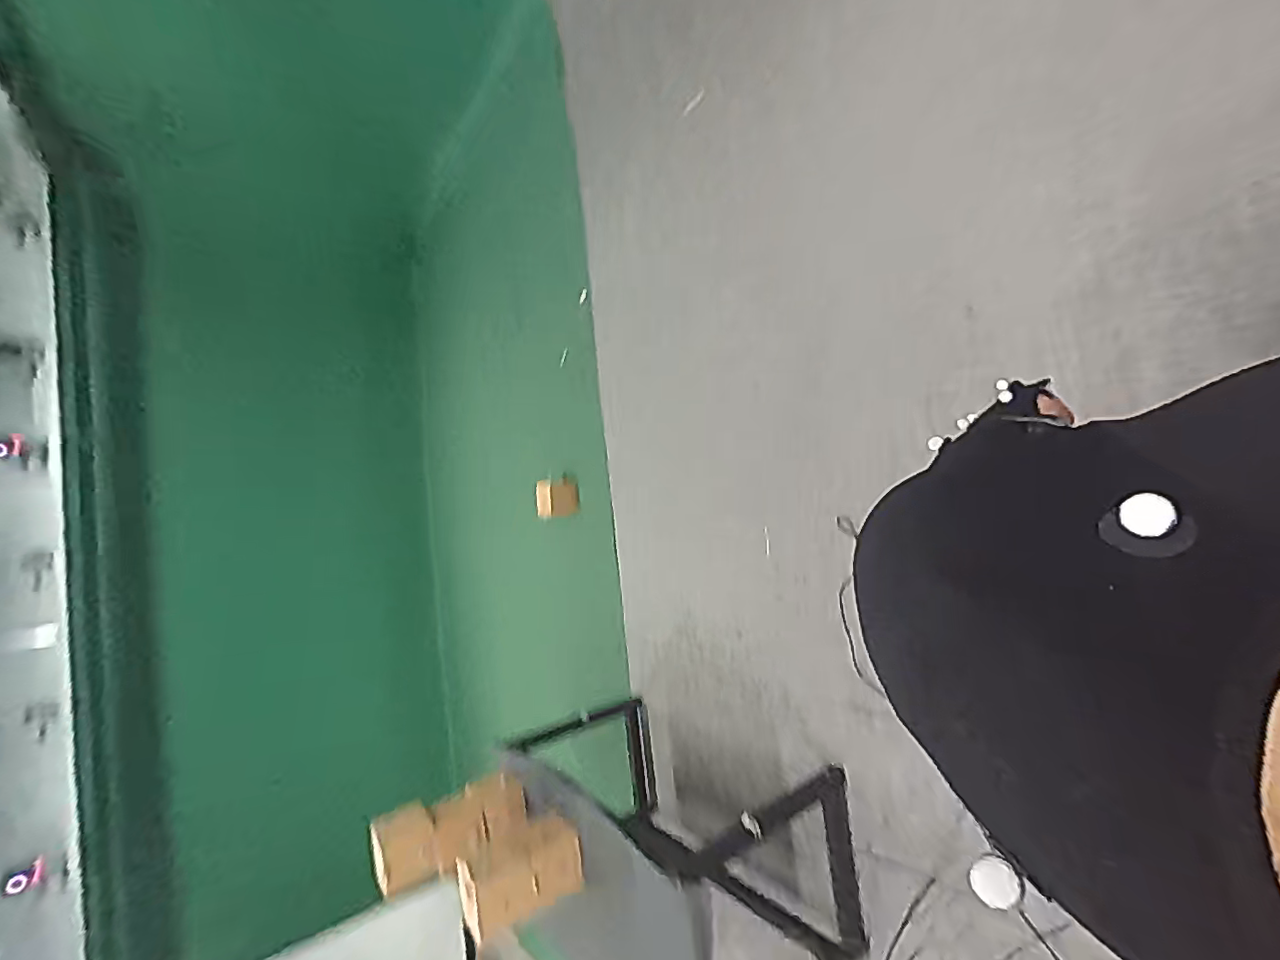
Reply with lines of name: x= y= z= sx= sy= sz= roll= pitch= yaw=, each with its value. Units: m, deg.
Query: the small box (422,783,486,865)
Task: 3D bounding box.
small box: x=-0.670 y=1.224 z=1.941 sx=0.179 sy=0.176 sz=0.168 roll=-13 pitch=87 yaw=51

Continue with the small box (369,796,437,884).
small box: x=-0.811 y=1.220 z=1.851 sx=0.179 sy=0.176 sz=0.168 roll=-4 pitch=93 yaw=52

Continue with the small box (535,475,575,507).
small box: x=-0.481 y=0.061 z=3.069 sx=0.168 sy=0.176 sz=0.179 roll=-2 pitch=92 yaw=53

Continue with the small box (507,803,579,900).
small box: x=-0.305 y=1.172 z=1.727 sx=0.179 sy=0.176 sz=0.168 roll=-6 pitch=90 yaw=52

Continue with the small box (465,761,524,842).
small box: x=-0.549 y=1.209 z=2.047 sx=0.168 sy=0.176 sz=0.179 roll=0 pitch=95 yaw=52
